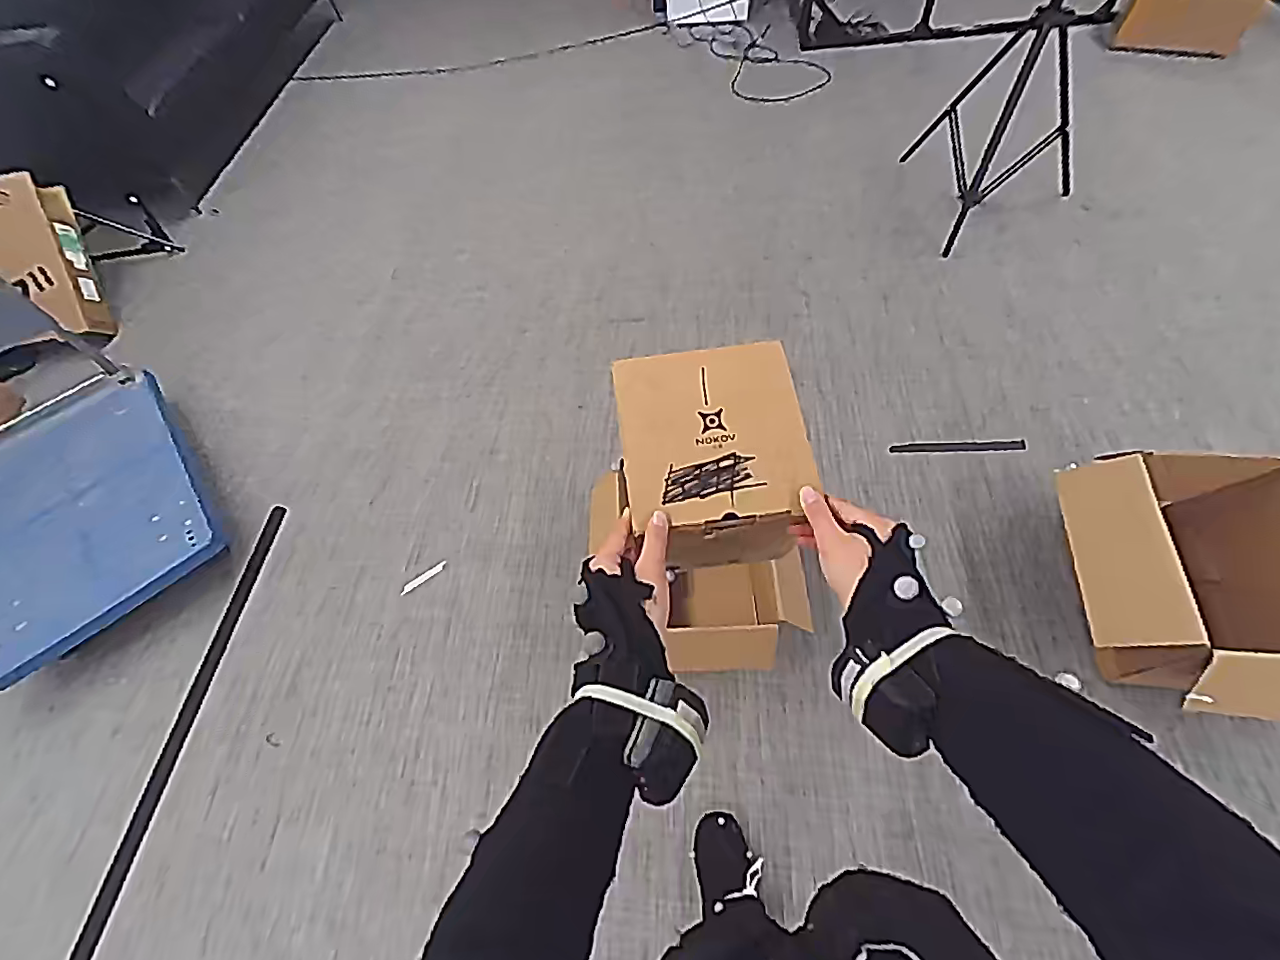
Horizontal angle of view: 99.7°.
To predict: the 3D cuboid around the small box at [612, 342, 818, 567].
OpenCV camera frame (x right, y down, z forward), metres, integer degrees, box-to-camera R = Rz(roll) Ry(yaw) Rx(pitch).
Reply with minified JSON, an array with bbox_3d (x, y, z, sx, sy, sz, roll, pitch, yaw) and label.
[{"bbox_3d":[0.066,-0.014,0.564,0.168,0.176,0.179,-7,66,-1],"label":"small box"}]
